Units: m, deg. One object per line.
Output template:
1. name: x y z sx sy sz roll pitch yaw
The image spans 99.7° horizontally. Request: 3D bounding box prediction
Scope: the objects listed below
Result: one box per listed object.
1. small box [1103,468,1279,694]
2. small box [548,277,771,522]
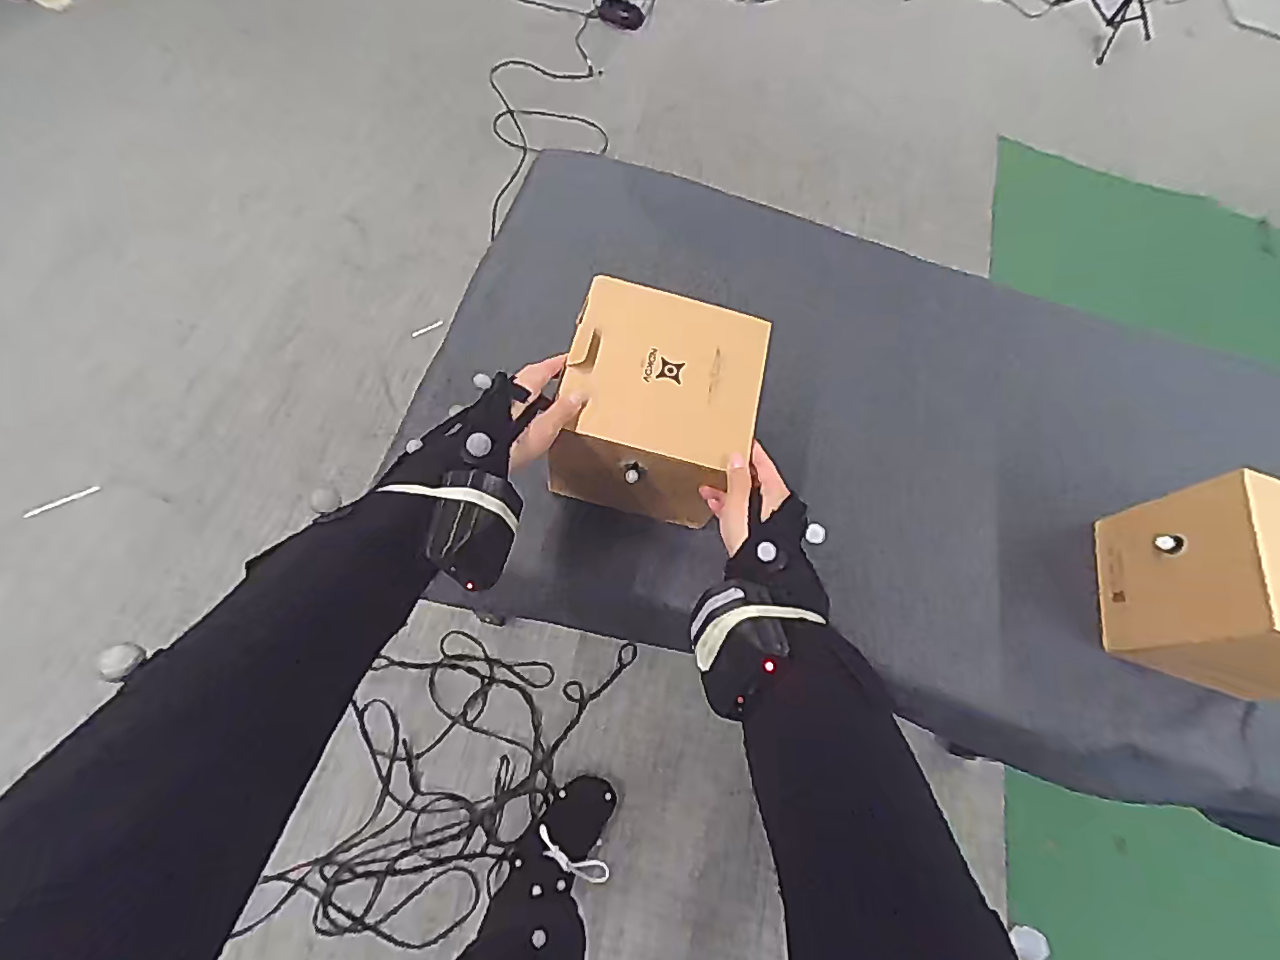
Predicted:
1. small box: 0.629 0.115 0.562 0.179 0.176 0.168 18 65 0
2. small box: 0.013 -0.069 0.552 0.179 0.176 0.168 14 68 -3
